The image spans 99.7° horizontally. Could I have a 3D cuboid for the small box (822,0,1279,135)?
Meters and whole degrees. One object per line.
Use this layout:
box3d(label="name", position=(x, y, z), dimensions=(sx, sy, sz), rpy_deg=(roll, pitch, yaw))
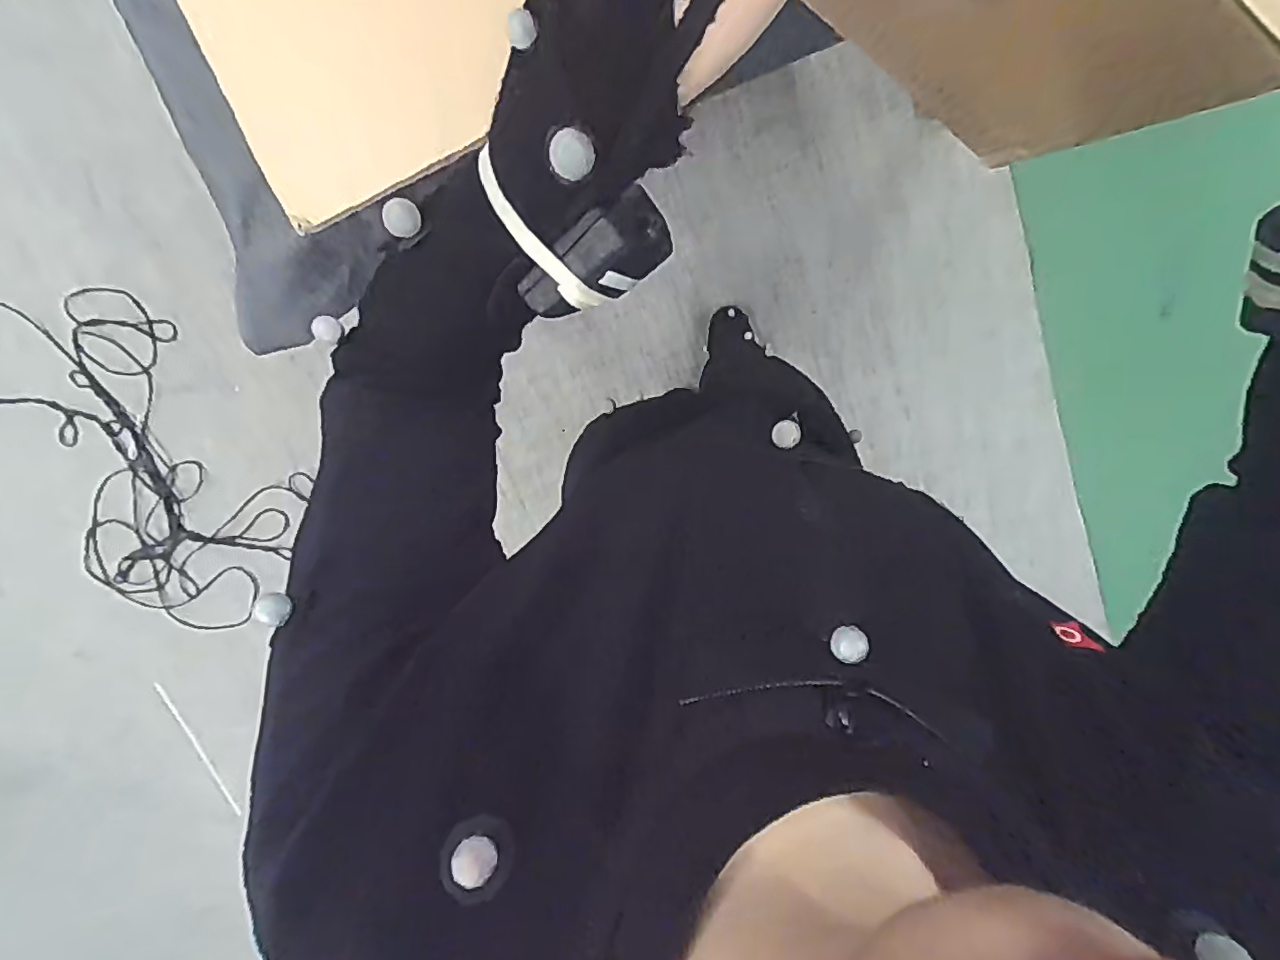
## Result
box3d(label="small box", position=(0.168, -0.253, 0.184), dimensions=(0.179, 0.176, 0.168), rpy_deg=(33, 111, -9))

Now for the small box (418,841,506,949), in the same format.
box3d(label="small box", position=(-0.500, 1.185, 1.557), dimensions=(0.179, 0.176, 0.168), rpy_deg=(-17, 101, 4))
